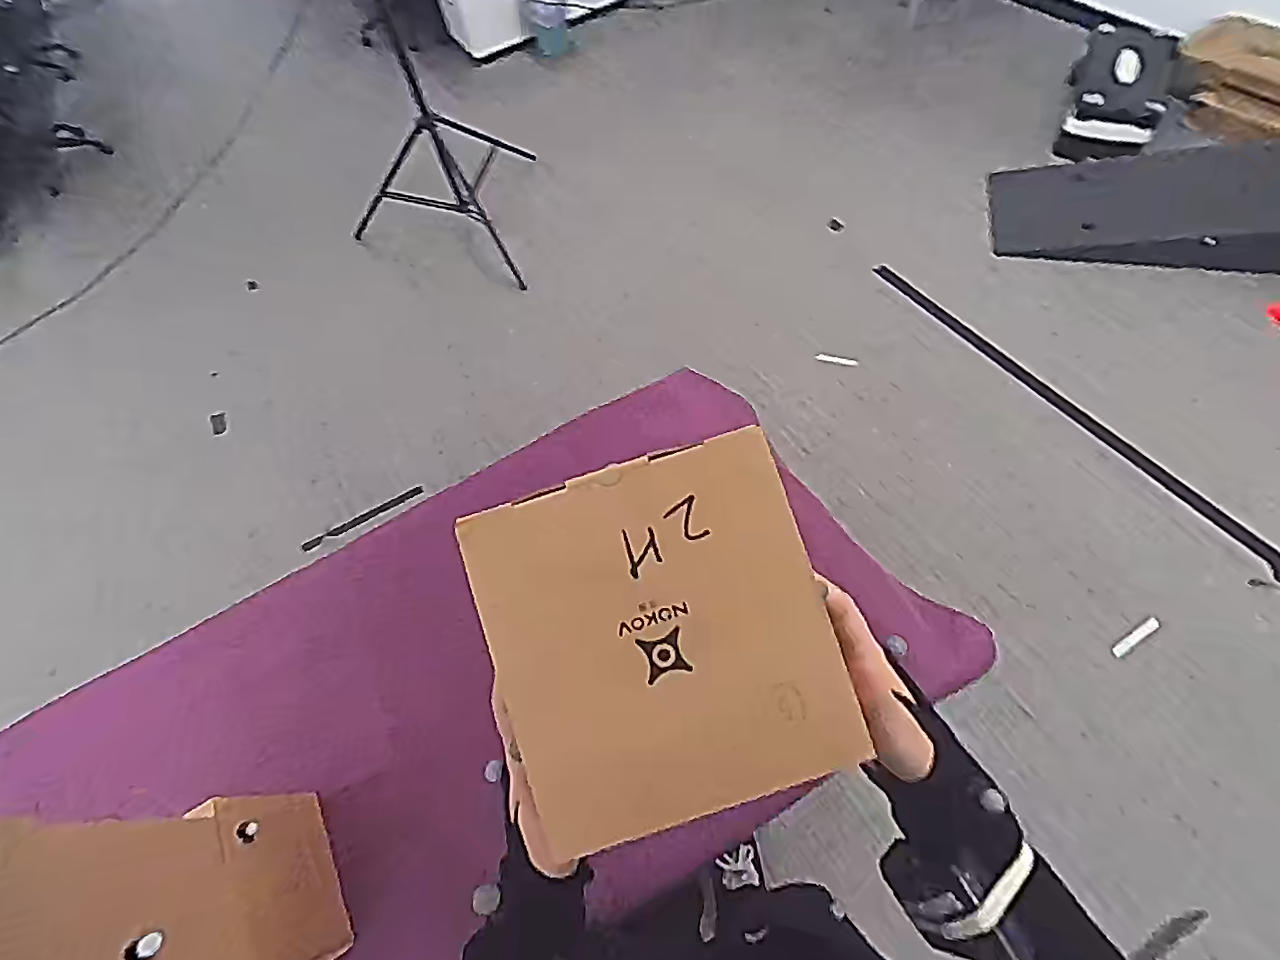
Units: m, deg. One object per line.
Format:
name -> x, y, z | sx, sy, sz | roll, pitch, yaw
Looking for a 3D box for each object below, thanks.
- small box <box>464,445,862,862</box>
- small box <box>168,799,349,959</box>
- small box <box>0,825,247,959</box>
small box -> 0.011, 0.090, 0.353 | 0.168, 0.176, 0.179 | -17, 85, -1
small box -> -0.436, 0.458, 0.554 | 0.168, 0.176, 0.179 | -31, 62, -11
small box -> -0.437, 0.393, 0.402 | 0.168, 0.176, 0.179 | -35, 64, -13
